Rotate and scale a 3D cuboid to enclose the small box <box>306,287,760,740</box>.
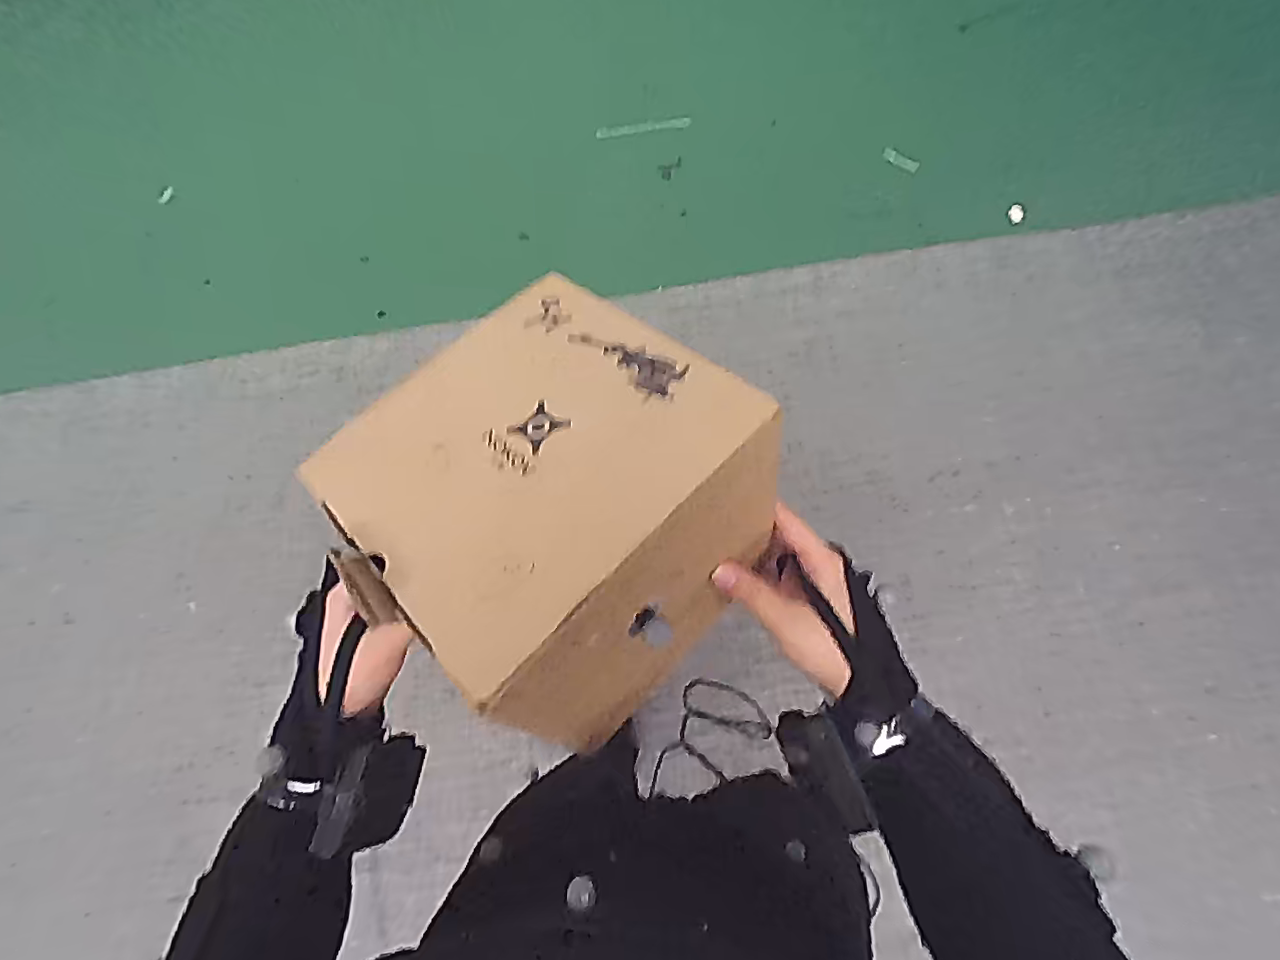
[{"bbox_3d":[-0.042,0.027,0.326,0.168,0.176,0.179,37,72,28],"label":"small box"}]
